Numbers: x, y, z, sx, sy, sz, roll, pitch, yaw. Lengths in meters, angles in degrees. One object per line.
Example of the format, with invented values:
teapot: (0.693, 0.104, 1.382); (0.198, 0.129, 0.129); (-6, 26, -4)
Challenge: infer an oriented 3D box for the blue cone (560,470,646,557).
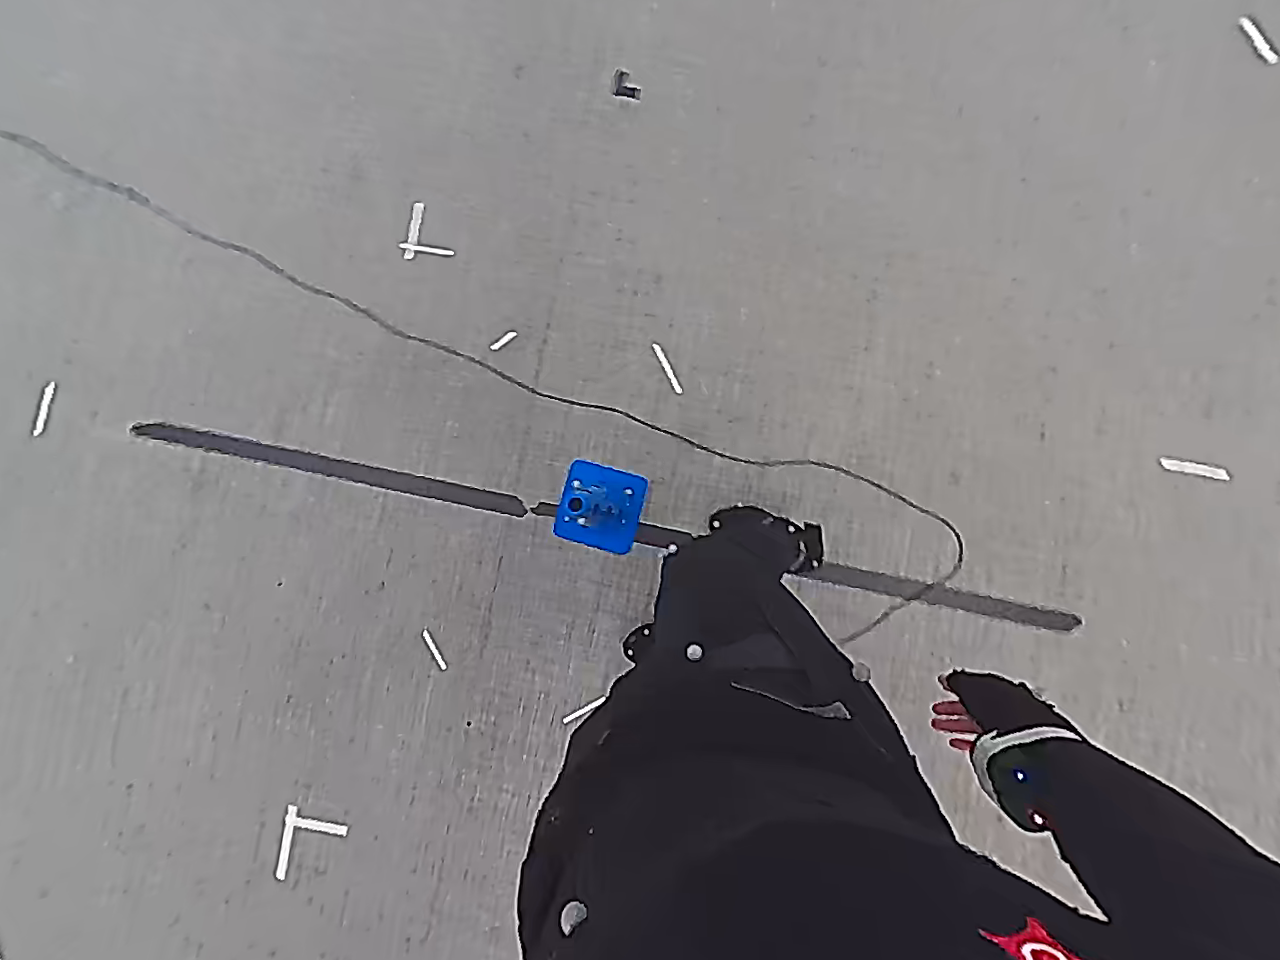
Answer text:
blue cone: (-0.100, 0.065, 1.141); (0.192, 0.380, 0.193); (14, 86, 4)
